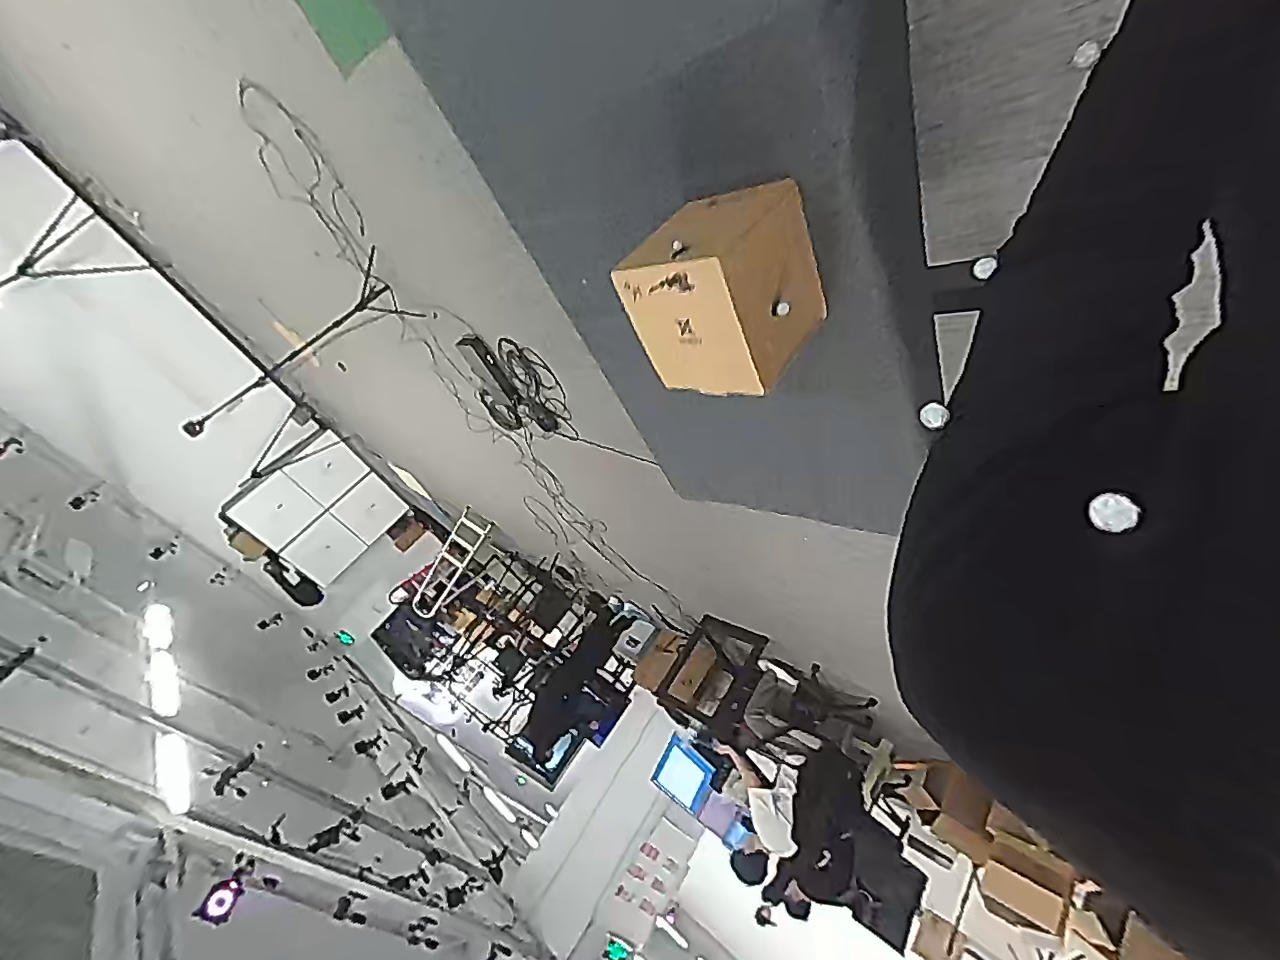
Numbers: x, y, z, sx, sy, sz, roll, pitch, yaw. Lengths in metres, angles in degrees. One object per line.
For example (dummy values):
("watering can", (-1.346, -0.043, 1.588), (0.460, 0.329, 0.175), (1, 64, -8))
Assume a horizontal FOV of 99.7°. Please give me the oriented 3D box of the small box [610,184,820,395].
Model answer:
("small box", (0.102, -0.231, 0.674), (0.168, 0.176, 0.179), (14, 146, 44))
